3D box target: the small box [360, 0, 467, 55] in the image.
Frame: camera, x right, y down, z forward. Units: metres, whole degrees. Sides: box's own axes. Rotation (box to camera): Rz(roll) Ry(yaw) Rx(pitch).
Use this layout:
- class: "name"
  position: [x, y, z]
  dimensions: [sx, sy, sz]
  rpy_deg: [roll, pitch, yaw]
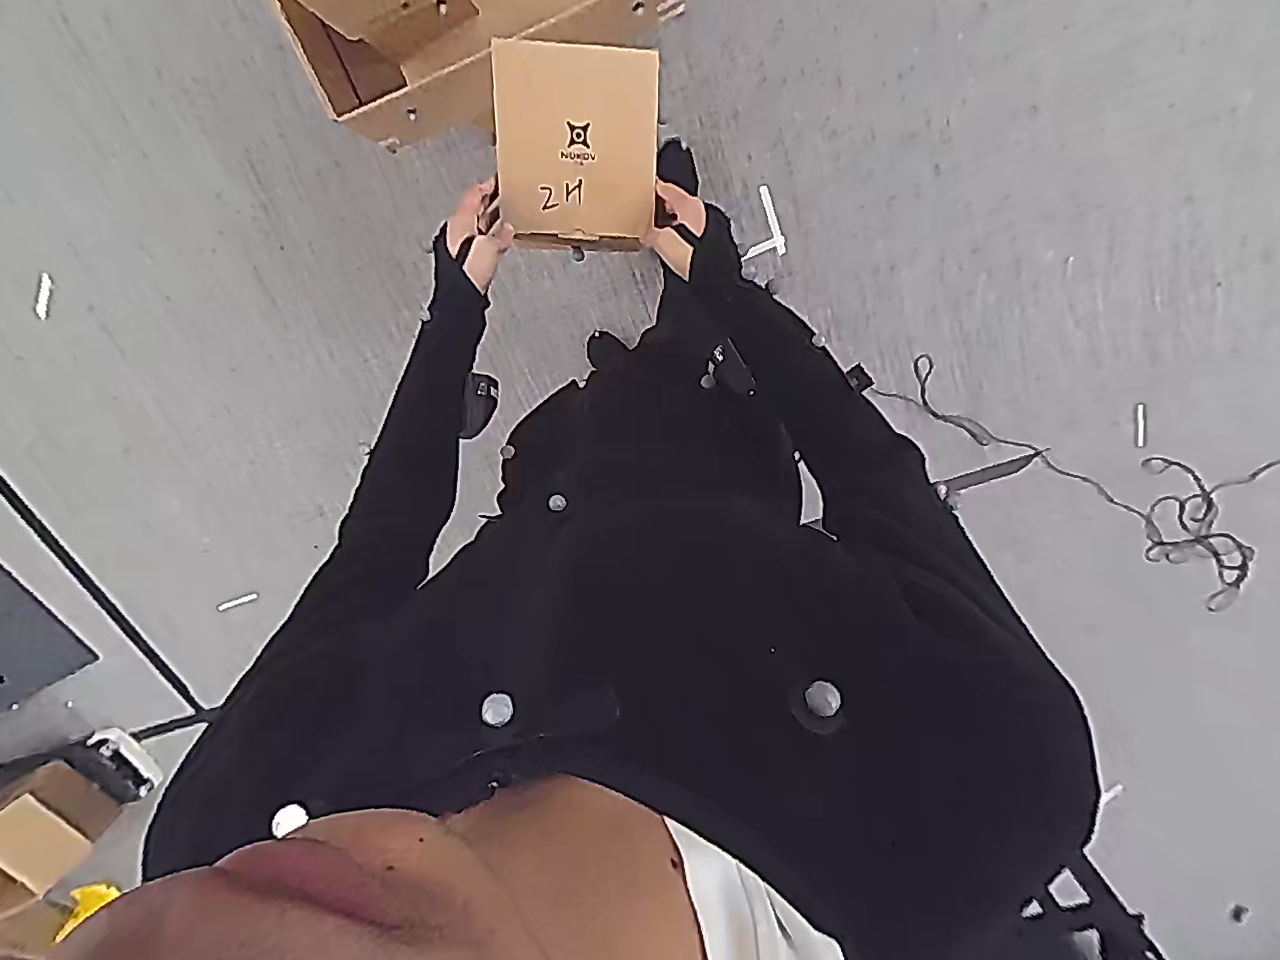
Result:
- class: "small box"
  position: [-0.384, -0.802, 0.822]
  dimensions: [0.179, 0.176, 0.168]
  rpy_deg: [-24, 109, 10]

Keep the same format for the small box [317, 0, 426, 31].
- class: "small box"
  position: [-0.380, -0.725, 0.678]
  dimensions: [0.168, 0.176, 0.179]
  rpy_deg: [-18, 109, 8]

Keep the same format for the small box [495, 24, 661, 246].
- class: "small box"
  position: [-0.073, -0.377, 0.626]
  dimensions: [0.168, 0.176, 0.179]
  rpy_deg: [0, 109, -7]
